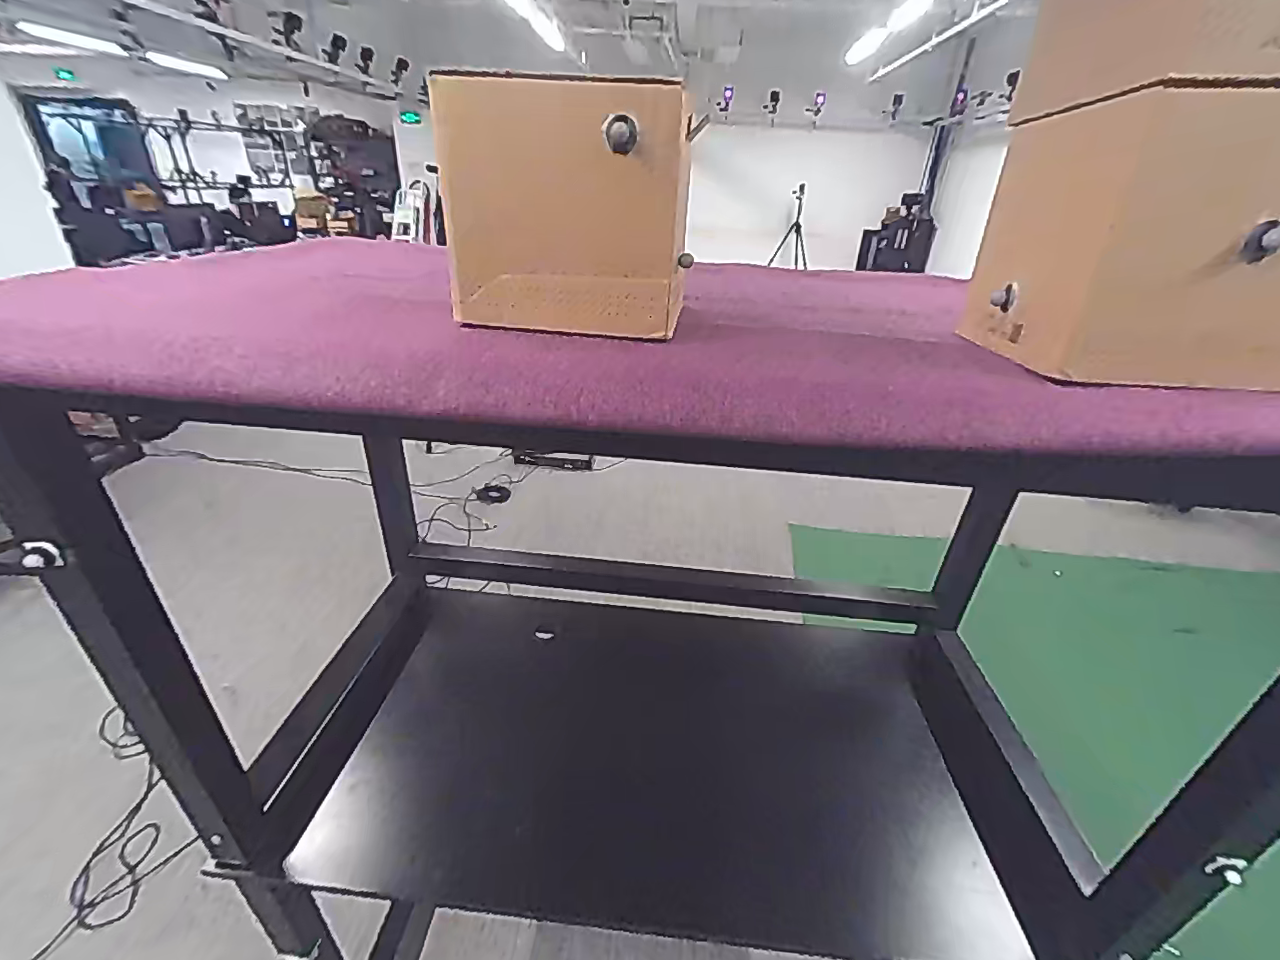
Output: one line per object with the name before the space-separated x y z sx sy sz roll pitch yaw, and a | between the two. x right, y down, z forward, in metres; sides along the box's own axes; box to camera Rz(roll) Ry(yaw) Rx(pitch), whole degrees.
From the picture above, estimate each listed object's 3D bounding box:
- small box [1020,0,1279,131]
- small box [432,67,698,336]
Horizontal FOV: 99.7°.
small box | 0.372 -0.316 0.318 0.168 0.176 0.179 4 27 5
small box | -0.048 -0.223 0.455 0.179 0.176 0.168 6 28 4
